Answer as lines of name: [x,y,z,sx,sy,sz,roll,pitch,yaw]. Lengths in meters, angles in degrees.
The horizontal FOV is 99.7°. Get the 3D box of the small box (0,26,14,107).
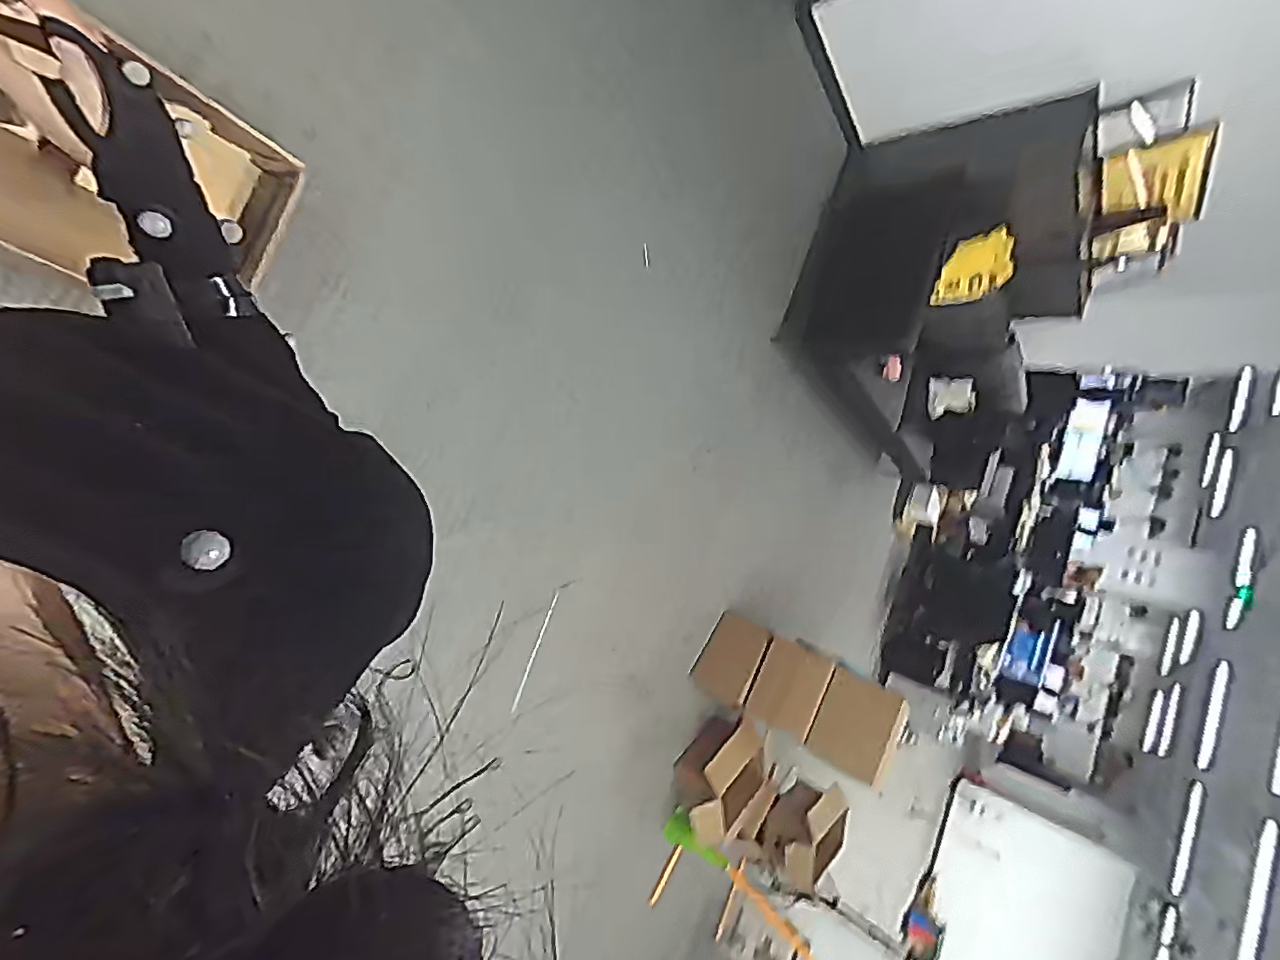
small box: [-0.489,-0.322,0.287,0.179,0.176,0.168,-14,113,-38]

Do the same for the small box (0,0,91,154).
small box: [-0.898,-0.585,0.741,0.168,0.176,0.179,21,87,-50]

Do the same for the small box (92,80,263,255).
small box: [-0.768,-0.501,0.897,0.168,0.176,0.179,24,83,-46]
